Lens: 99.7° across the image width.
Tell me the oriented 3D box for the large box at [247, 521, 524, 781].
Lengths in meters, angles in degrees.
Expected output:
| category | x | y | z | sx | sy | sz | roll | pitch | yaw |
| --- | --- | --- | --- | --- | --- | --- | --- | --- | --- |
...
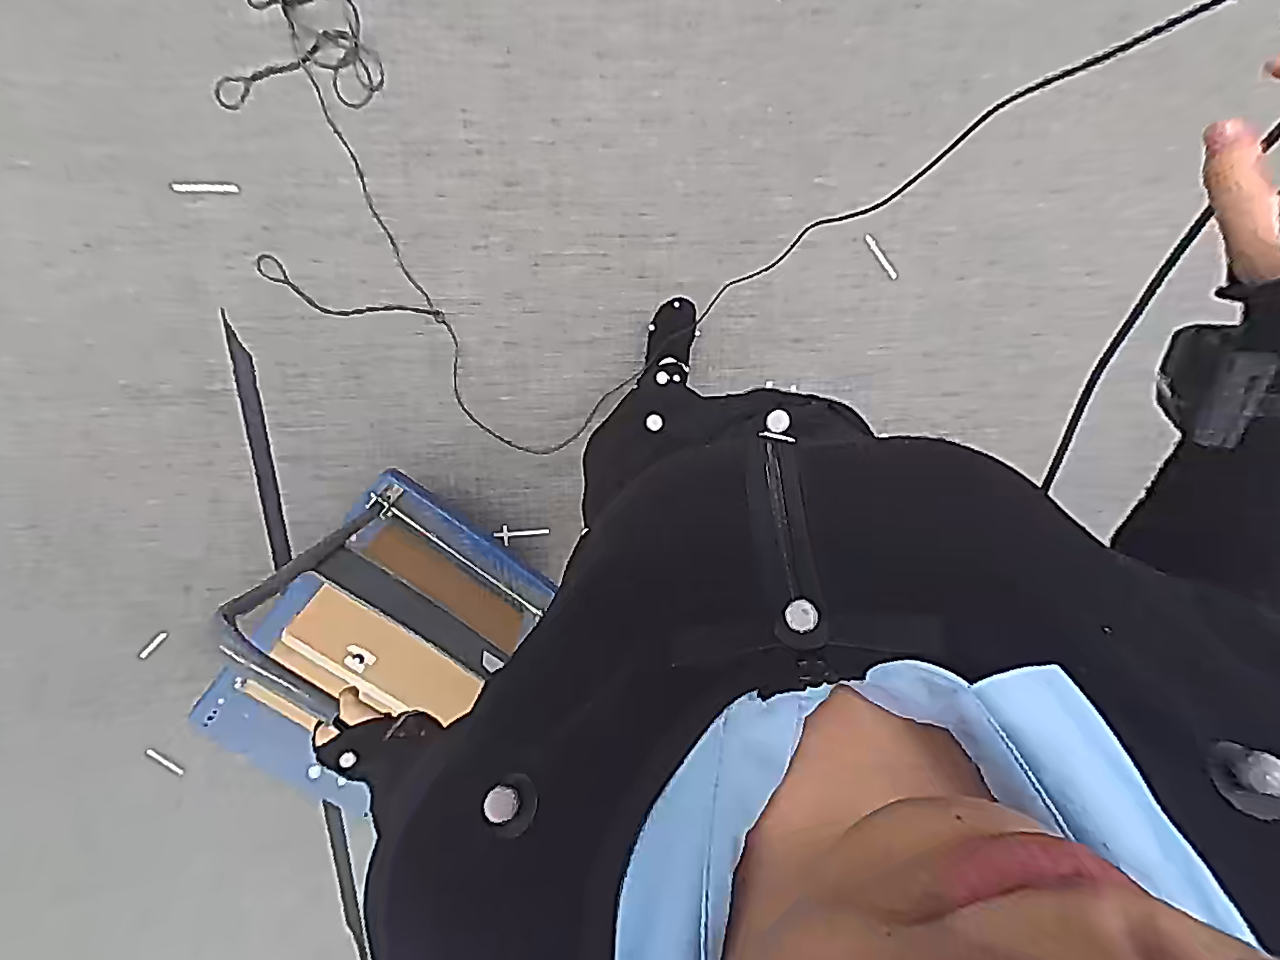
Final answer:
| category | x | y | z | sx | sy | sz | roll | pitch | yaw |
| --- | --- | --- | --- | --- | --- | --- | --- | --- | --- |
| large box | -0.526 | 0.364 | 1.210 | 0.408 | 0.320 | 0.320 | 40 | 98 | -13 |
